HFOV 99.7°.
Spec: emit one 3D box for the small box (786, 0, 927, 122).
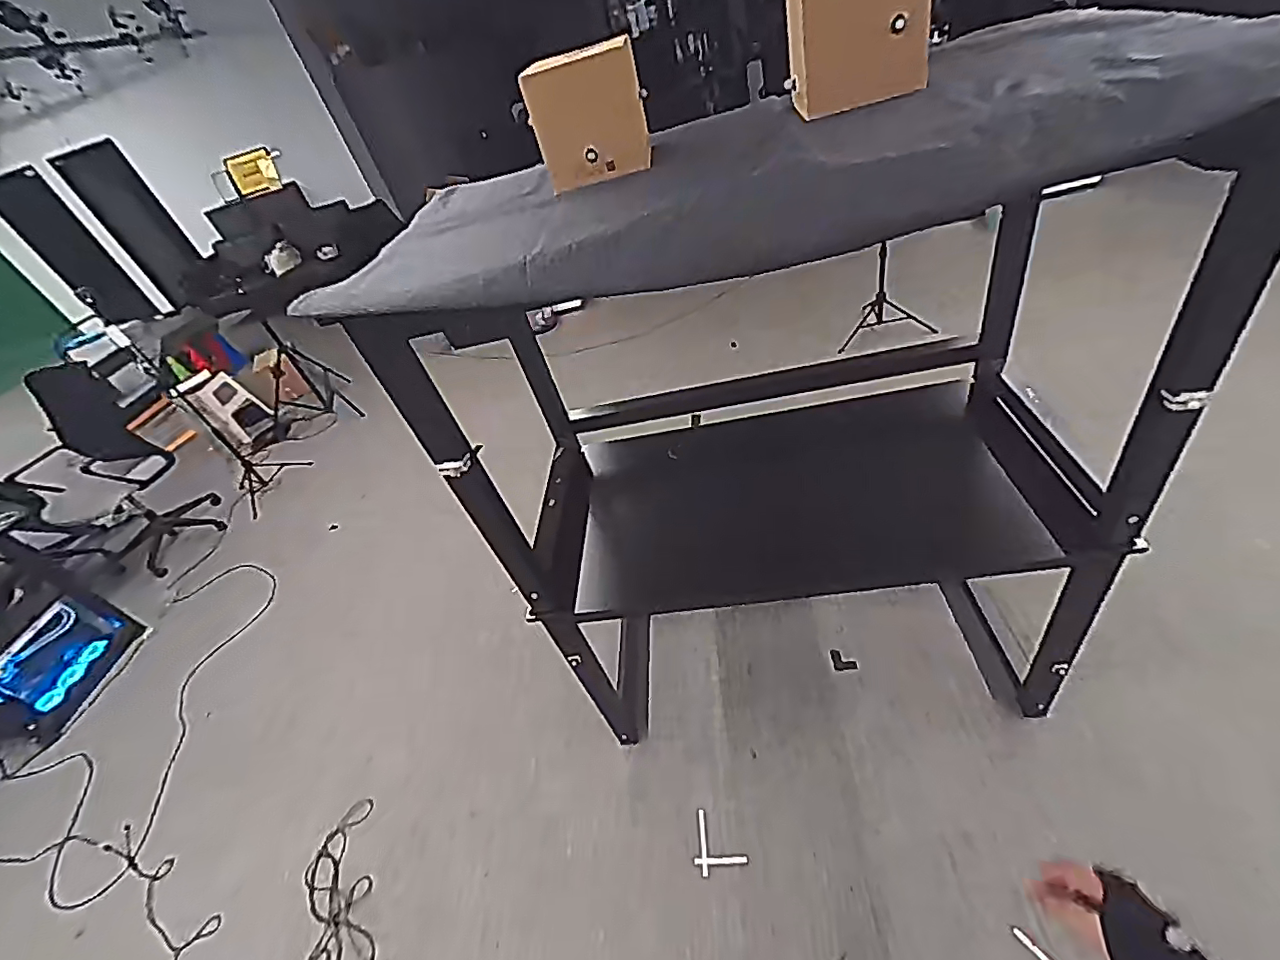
[{"bbox_3d":[0.324,-0.680,0.830,0.179,0.176,0.168,-8,40,12],"label":"small box"}]
